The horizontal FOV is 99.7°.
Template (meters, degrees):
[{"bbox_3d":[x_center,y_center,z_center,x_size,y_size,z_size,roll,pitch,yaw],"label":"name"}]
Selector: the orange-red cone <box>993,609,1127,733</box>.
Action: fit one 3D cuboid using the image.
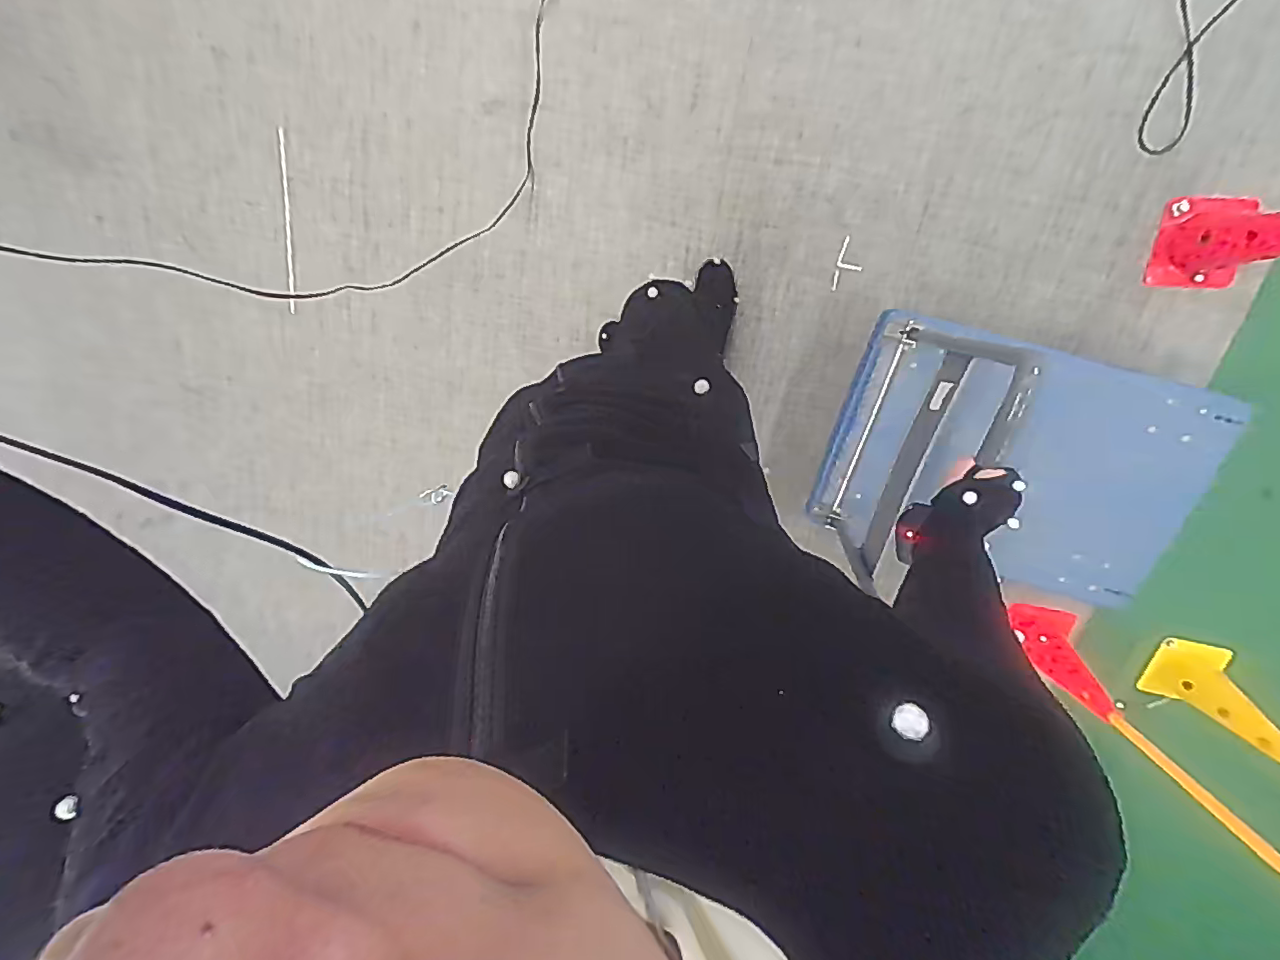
[{"bbox_3d":[1.190,0.544,1.486,0.199,0.360,0.198,11,110,1],"label":"orange-red cone"}]
